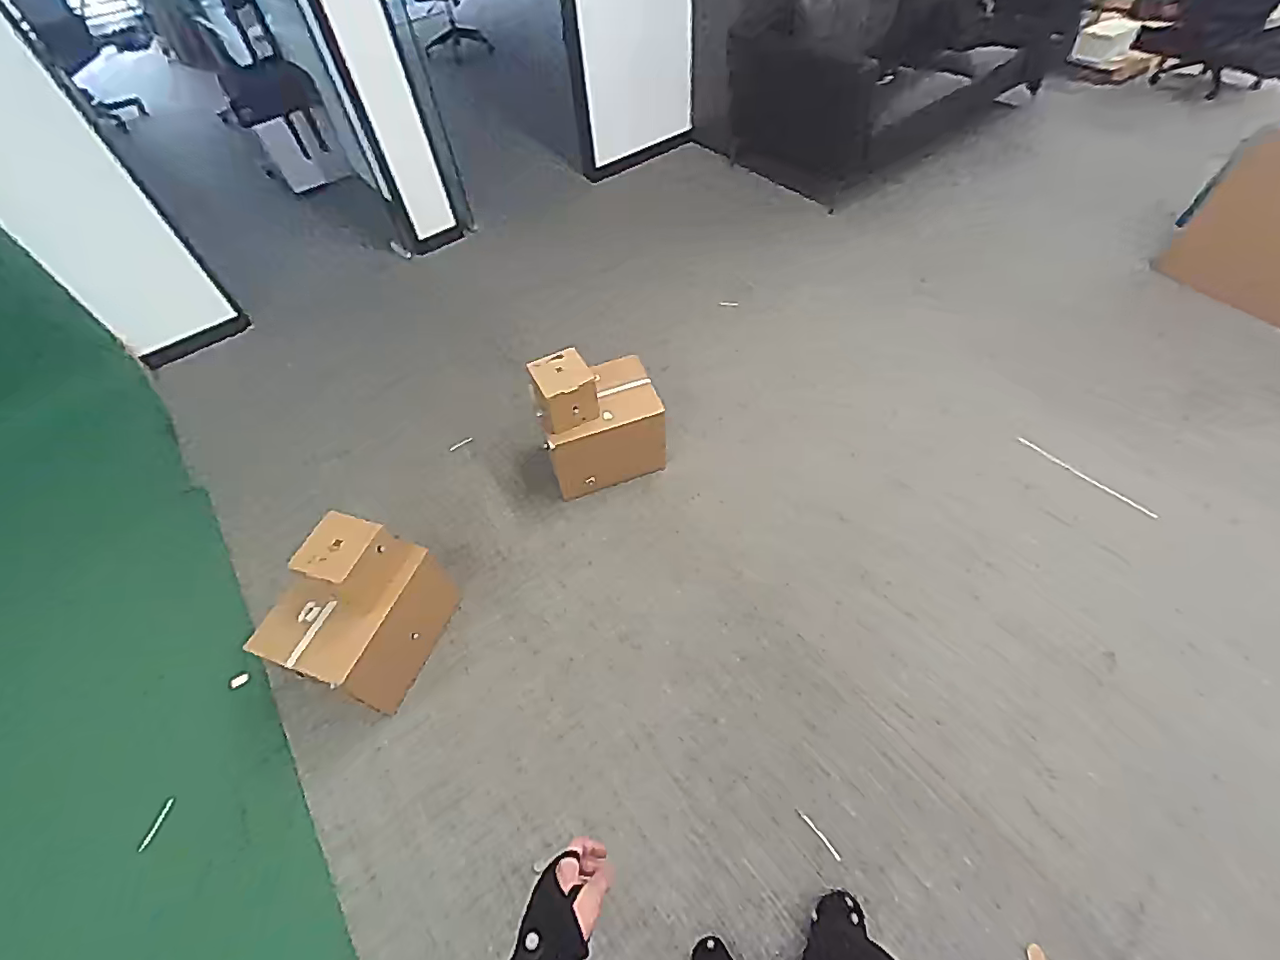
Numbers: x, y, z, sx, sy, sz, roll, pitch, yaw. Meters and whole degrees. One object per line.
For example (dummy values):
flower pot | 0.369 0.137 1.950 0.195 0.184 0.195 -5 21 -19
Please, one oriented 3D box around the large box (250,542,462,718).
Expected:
large box | -0.785 0.412 1.572 0.320 0.320 0.408 13 56 15

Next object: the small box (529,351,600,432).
small box | -0.238 -0.277 1.742 0.168 0.176 0.179 -24 56 -14

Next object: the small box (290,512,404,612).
small box | -0.747 0.215 1.407 0.168 0.176 0.179 14 55 13
